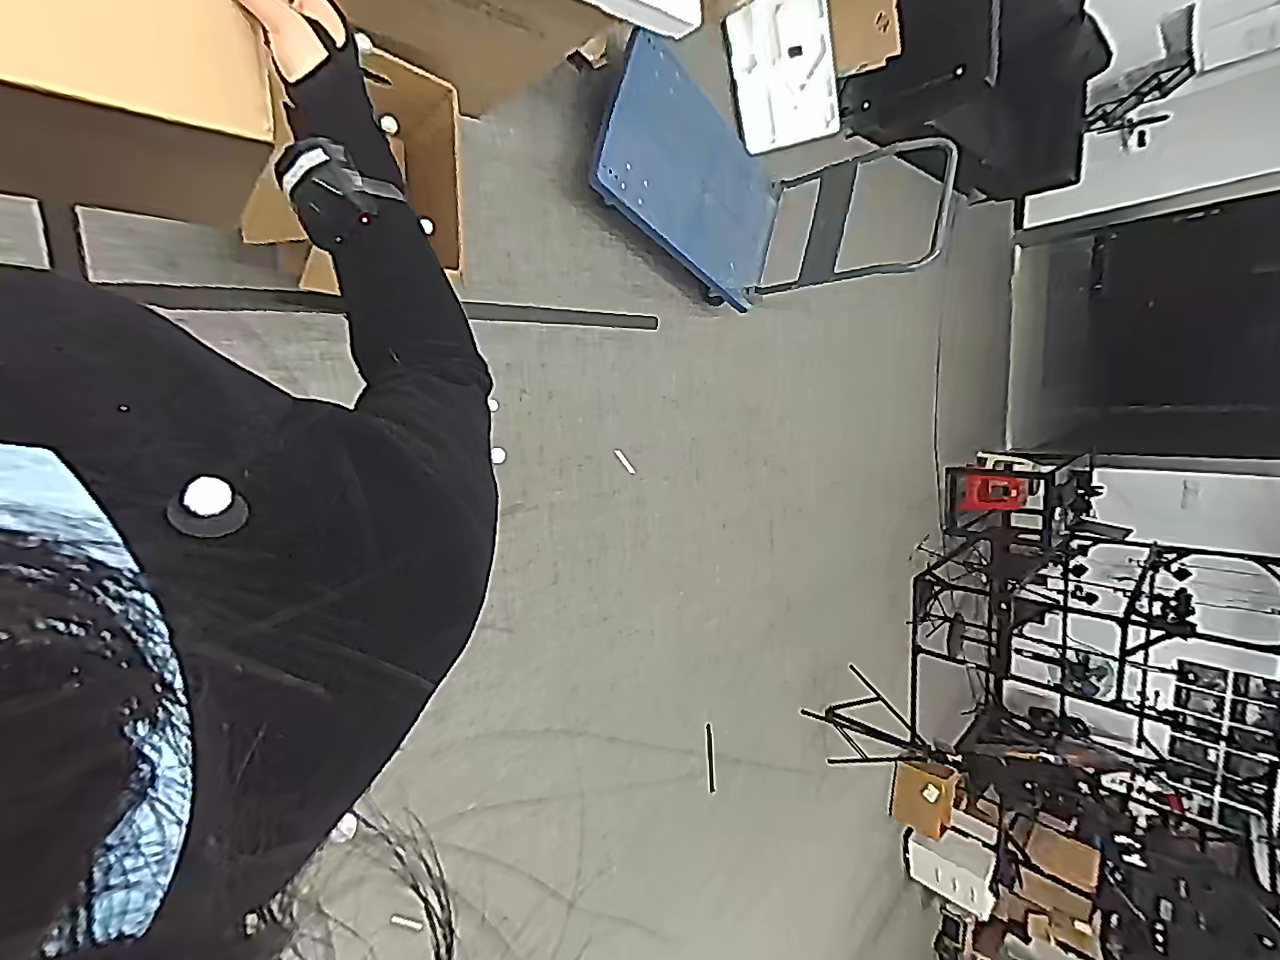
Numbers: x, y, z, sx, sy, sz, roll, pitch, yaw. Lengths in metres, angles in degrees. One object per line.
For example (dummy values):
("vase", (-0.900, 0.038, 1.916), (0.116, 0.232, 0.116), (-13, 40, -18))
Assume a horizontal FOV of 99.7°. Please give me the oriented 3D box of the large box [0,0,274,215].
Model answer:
("large box", (-0.545, -0.417, 0.393), (0.408, 0.320, 0.320), (-10, 103, -41))
